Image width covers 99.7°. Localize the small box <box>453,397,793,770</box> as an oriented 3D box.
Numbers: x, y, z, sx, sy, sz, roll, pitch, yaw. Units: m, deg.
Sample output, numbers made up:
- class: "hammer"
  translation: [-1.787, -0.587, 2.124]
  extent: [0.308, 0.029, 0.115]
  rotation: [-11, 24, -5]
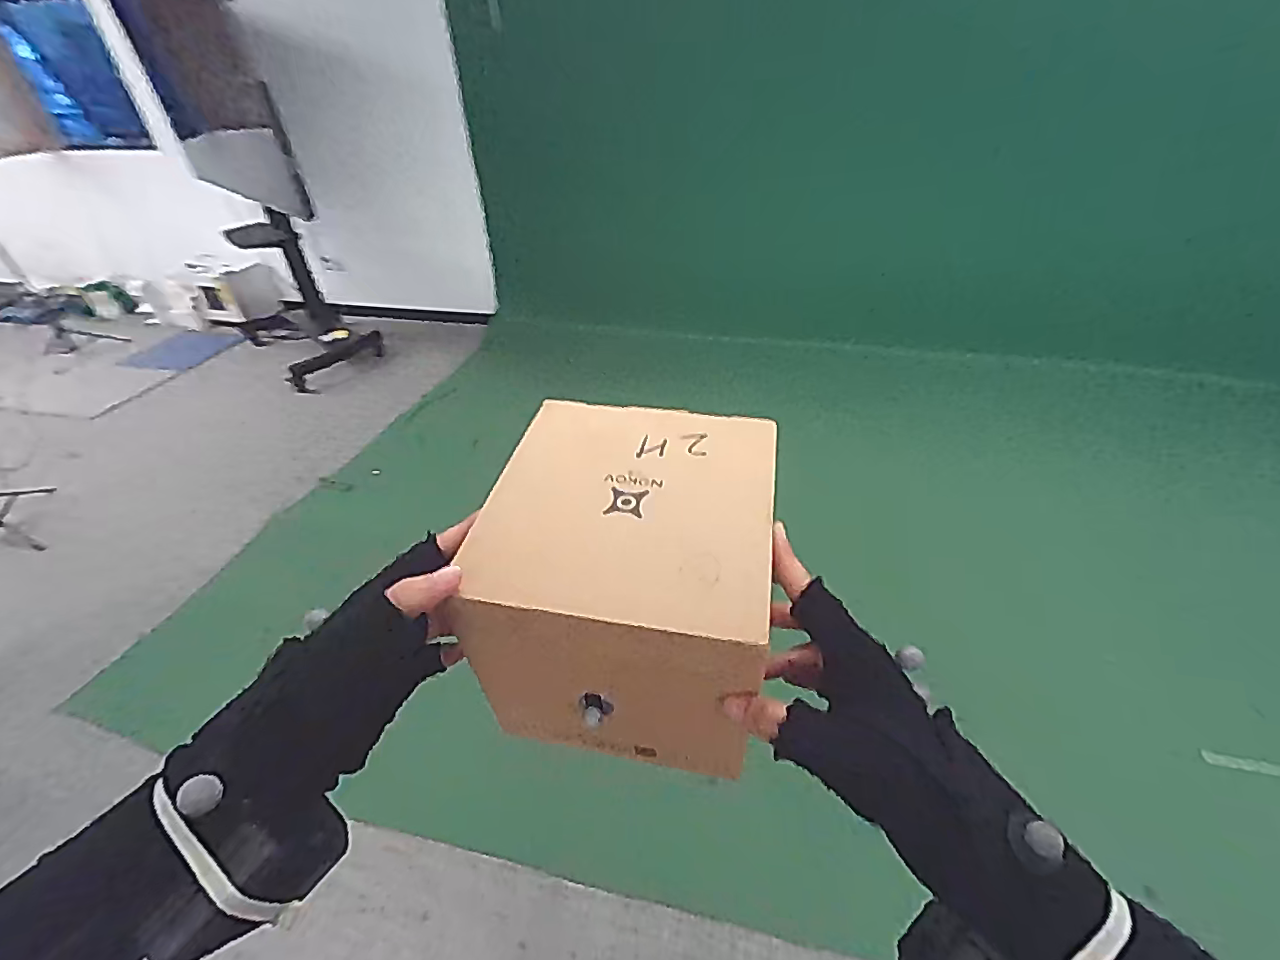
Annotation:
- class: "small box"
  translation: [0.006, 0.068, 0.367]
  extent: [0.168, 0.176, 0.179]
  rotation: [8, 44, 9]
